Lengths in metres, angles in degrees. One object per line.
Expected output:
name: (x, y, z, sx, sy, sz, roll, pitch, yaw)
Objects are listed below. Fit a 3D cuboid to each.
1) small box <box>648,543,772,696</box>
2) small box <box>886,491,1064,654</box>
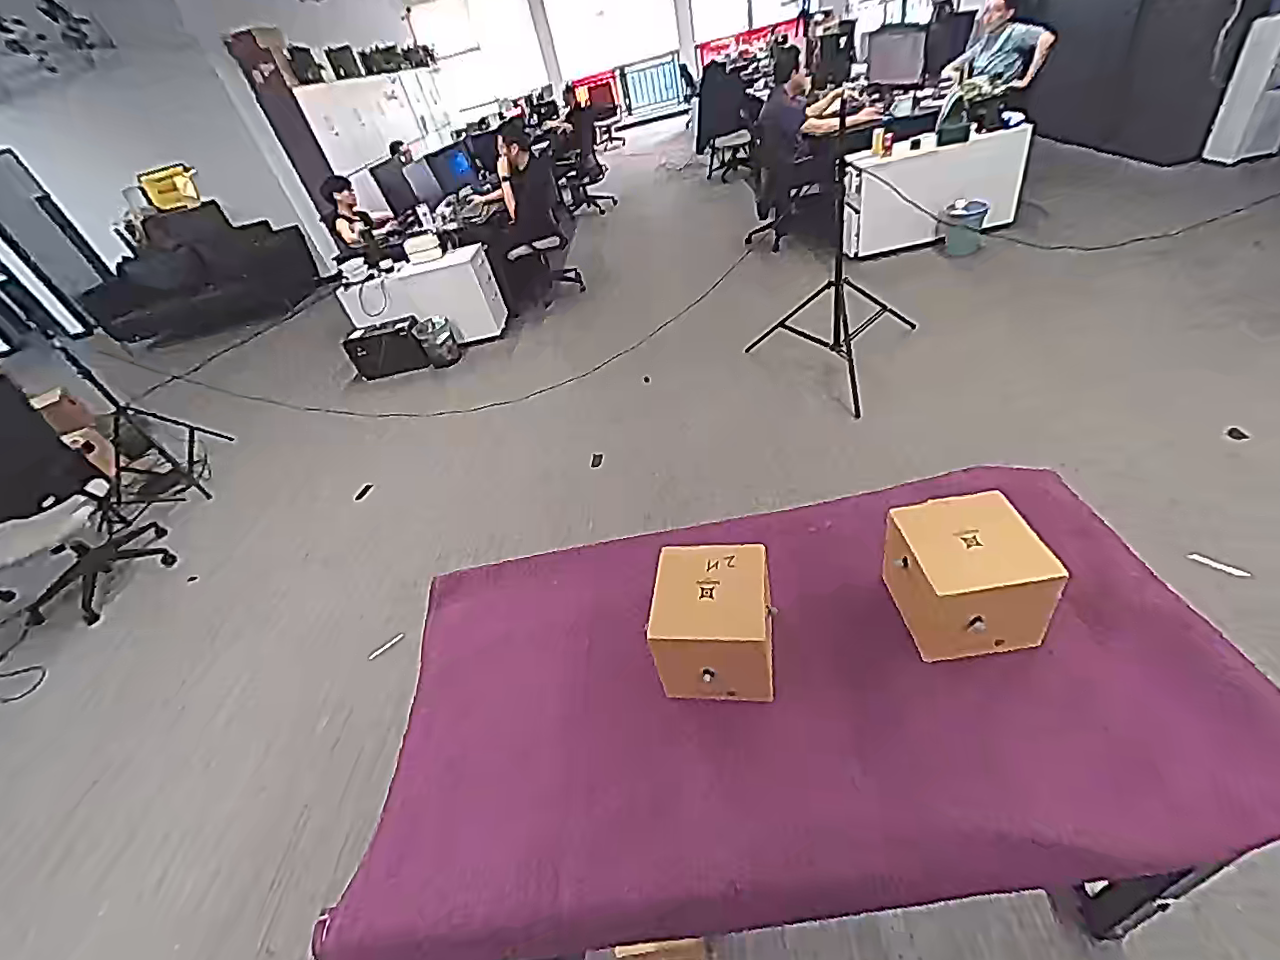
small box: (0.120, 0.221, 0.855, 0.168, 0.176, 0.179, -2, 40, 15)
small box: (0.489, 0.146, 0.822, 0.168, 0.176, 0.179, -11, 38, 7)
